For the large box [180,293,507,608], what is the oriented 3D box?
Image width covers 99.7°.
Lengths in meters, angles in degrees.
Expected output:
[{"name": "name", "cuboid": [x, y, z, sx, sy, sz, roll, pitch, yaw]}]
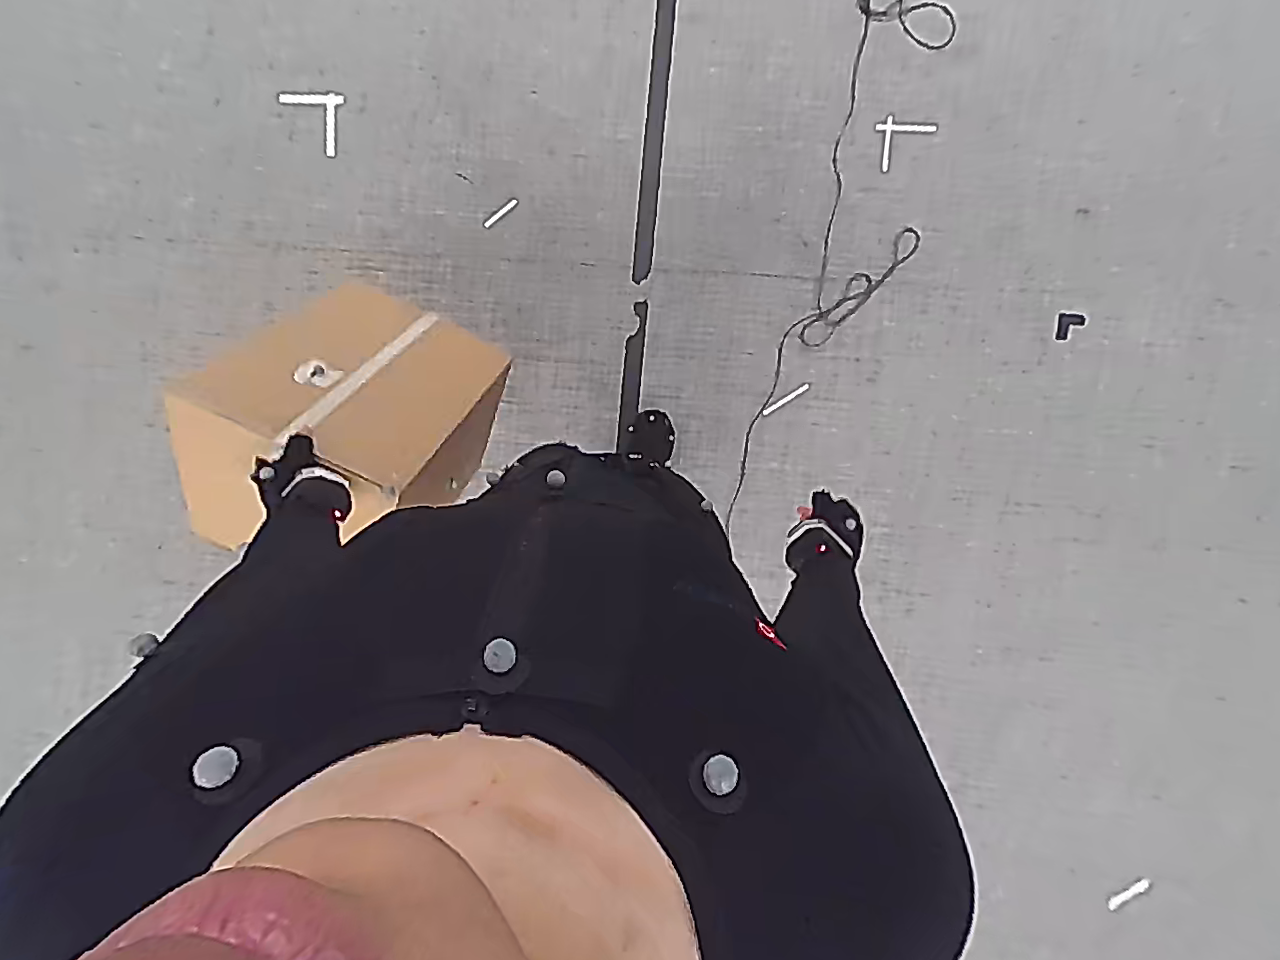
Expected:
[{"name": "large box", "cuboid": [-0.481, -0.061, 0.958, 0.320, 0.408, 0.320, 24, 131, -5]}]
